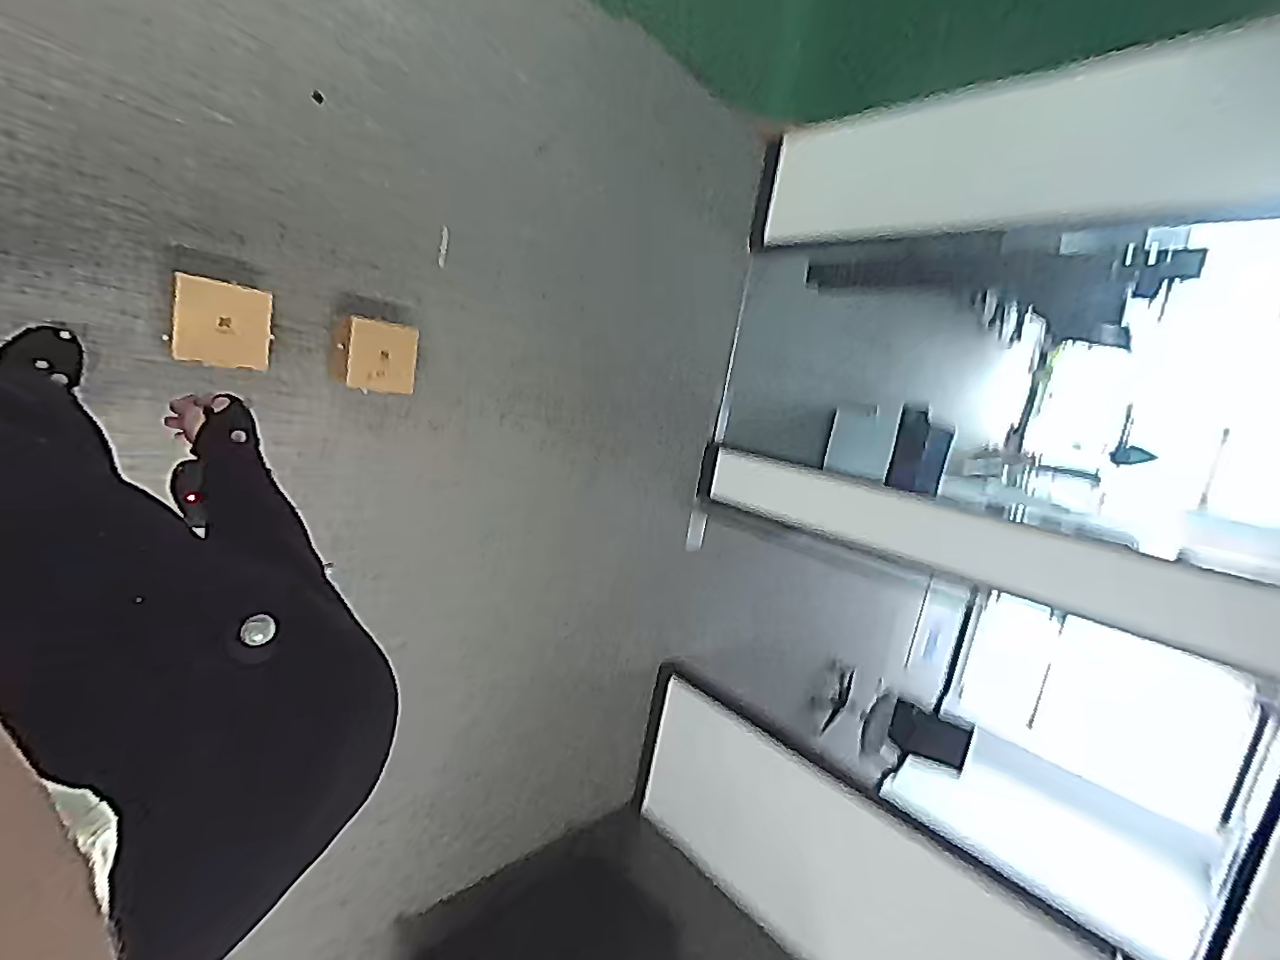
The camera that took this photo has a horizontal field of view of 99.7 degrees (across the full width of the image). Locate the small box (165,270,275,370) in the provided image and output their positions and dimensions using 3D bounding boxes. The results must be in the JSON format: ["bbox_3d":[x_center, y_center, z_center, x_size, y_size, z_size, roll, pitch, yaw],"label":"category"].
[{"bbox_3d":[-0.935,-0.354,1.200,0.168,0.176,0.179,2,104,-46],"label":"small box"}]

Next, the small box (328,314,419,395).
[{"bbox_3d":[-0.710,-0.334,1.433,0.168,0.176,0.179,3,103,-46],"label":"small box"}]
